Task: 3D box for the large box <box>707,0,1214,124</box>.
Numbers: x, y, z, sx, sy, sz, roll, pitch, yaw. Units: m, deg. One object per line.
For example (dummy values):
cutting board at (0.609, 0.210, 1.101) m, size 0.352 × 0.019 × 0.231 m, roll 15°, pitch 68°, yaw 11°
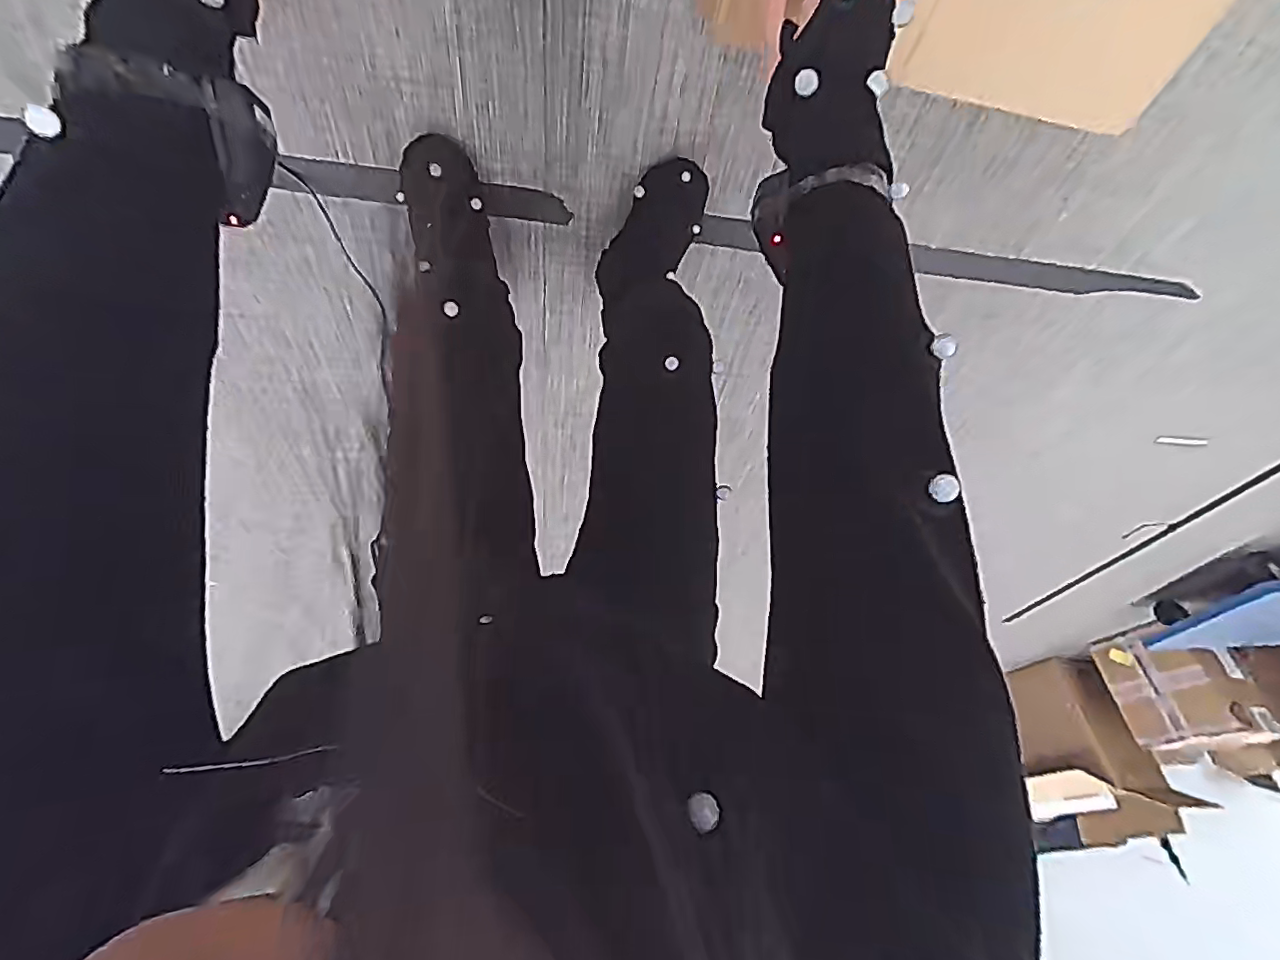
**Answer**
large box at (0.277, -0.561, 0.452) m, size 0.408 × 0.320 × 0.320 m, roll 4°, pitch 144°, yaw -12°
